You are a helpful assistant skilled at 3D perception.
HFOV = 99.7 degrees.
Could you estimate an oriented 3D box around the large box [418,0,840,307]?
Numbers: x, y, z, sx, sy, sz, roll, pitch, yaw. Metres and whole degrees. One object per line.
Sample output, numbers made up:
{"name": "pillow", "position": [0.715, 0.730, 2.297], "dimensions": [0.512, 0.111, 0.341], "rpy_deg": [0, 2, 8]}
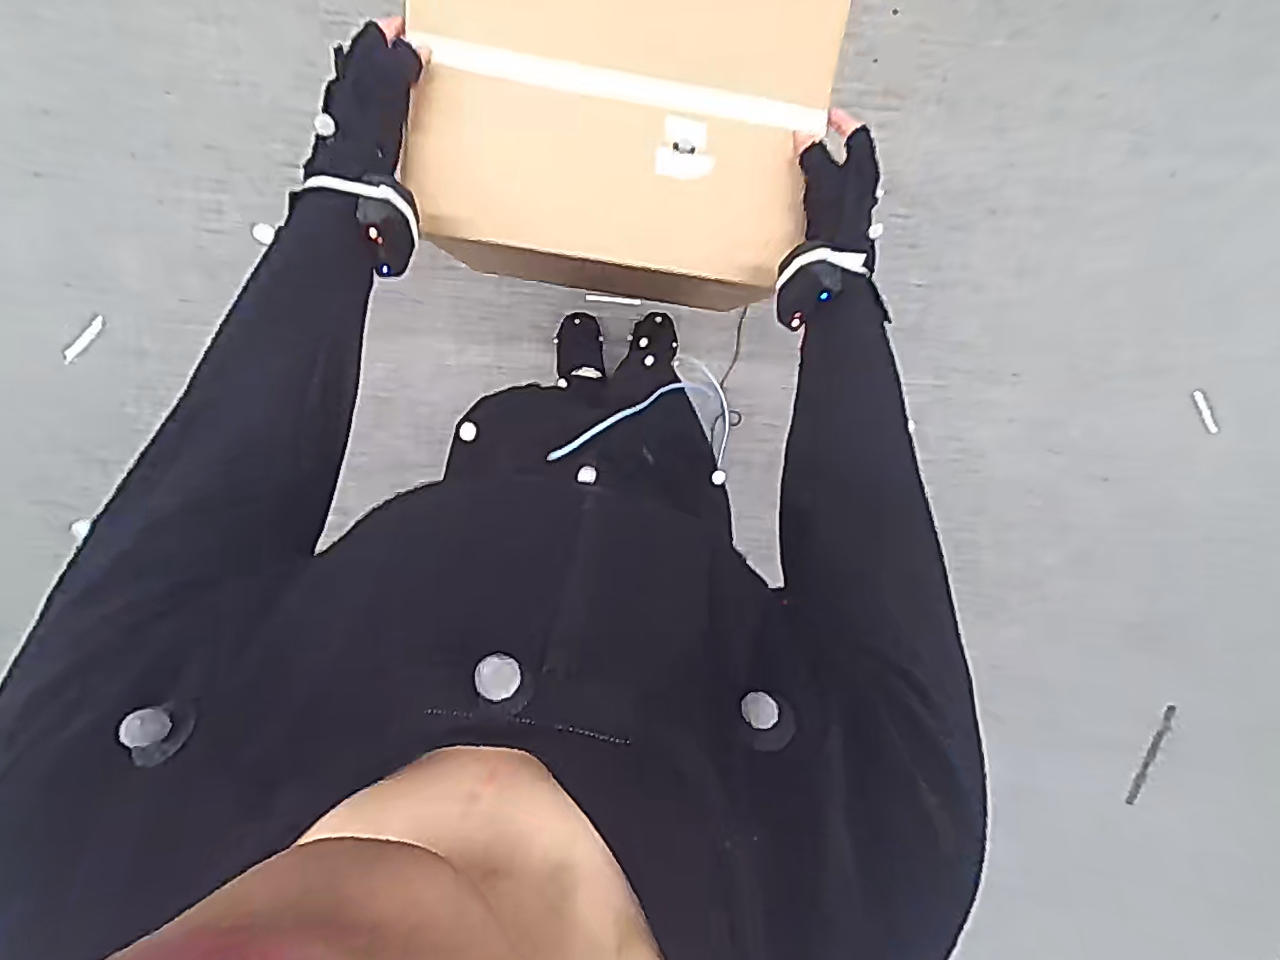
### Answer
{"name": "large box", "position": [-0.026, -0.415, 0.683], "dimensions": [0.408, 0.320, 0.320], "rpy_deg": [7, 103, -6]}
